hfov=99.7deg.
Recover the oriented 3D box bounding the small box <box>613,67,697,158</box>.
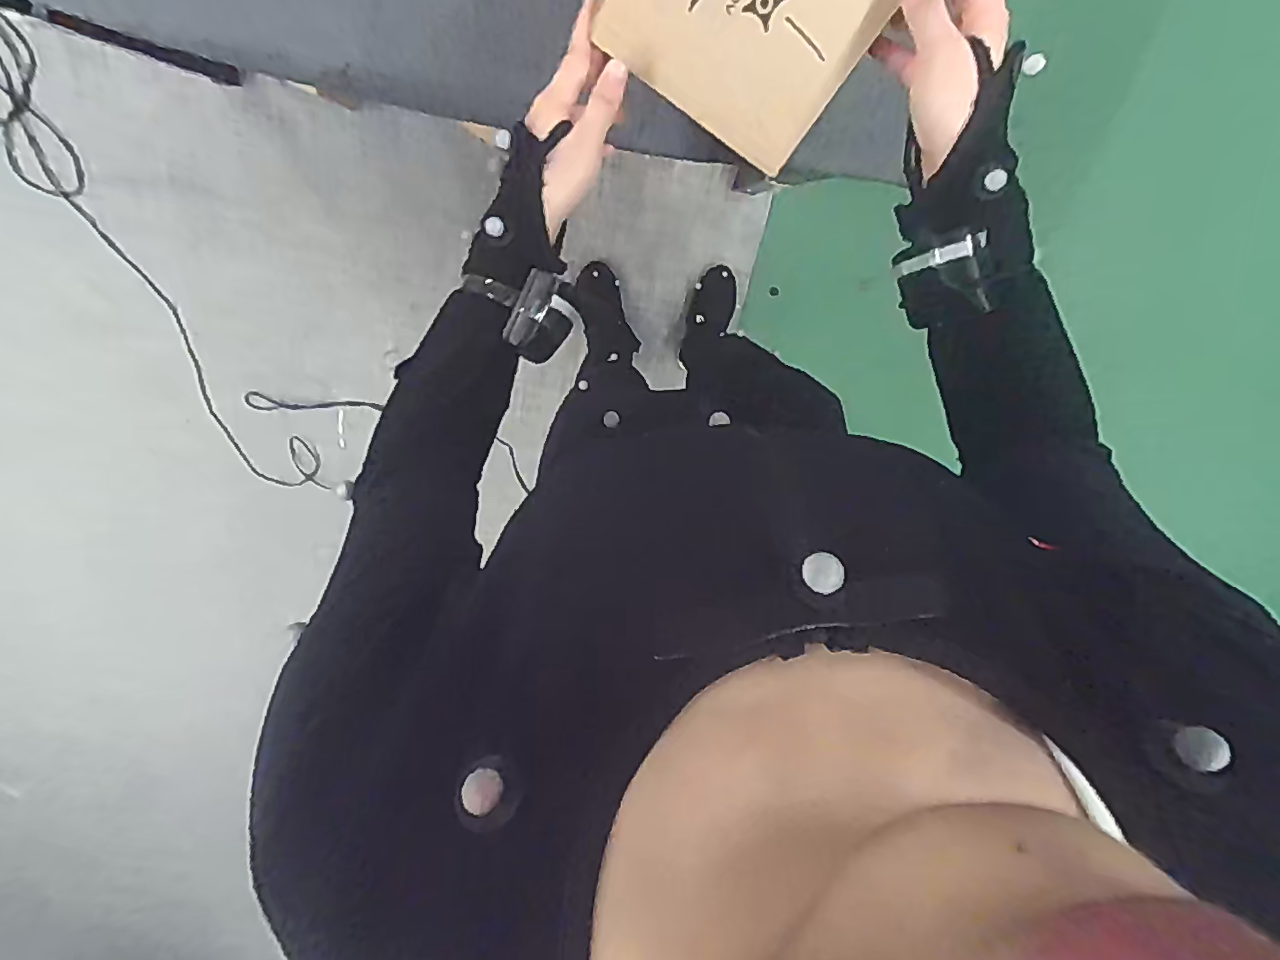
[{"bbox_3d":[0.034,-0.765,1.097,0.168,0.176,0.179,4,116,-4],"label":"small box"}]

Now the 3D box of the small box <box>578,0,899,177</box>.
[{"bbox_3d":[0.076,-0.381,0.411,0.179,0.176,0.168,25,135,-21],"label":"small box"}]

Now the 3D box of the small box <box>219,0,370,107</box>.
[{"bbox_3d":[-0.653,-0.850,1.036,0.179,0.176,0.168,20,114,-10],"label":"small box"}]

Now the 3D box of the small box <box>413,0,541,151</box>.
[{"bbox_3d":[-0.314,-0.786,1.078,0.179,0.176,0.168,28,111,-13],"label":"small box"}]
